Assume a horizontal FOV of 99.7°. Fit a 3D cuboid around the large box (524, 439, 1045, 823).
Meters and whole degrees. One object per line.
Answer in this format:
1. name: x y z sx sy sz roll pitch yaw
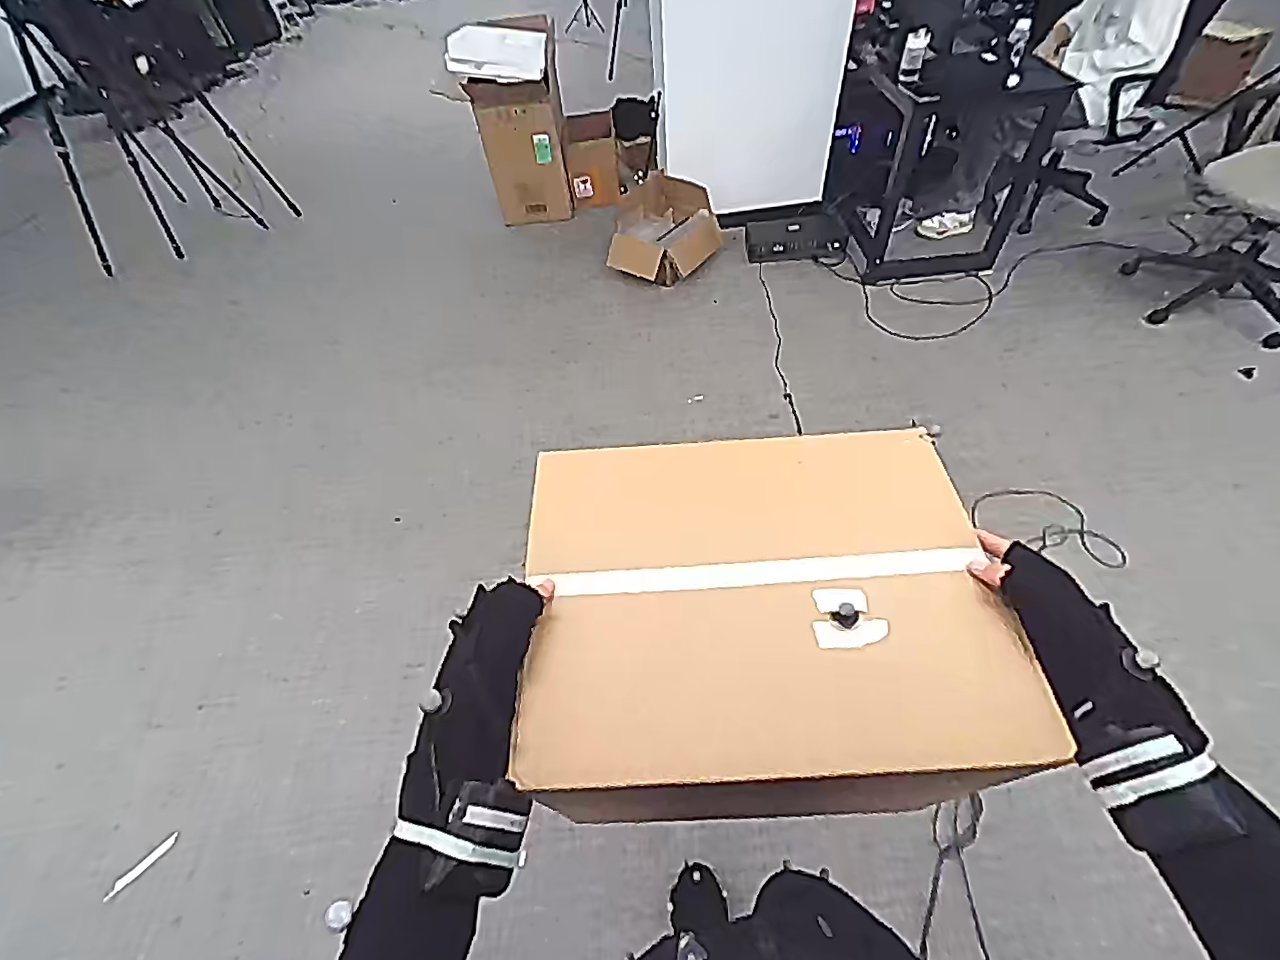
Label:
1. large box: 0.107 0.181 0.612 0.408 0.320 0.320 -4 53 1
